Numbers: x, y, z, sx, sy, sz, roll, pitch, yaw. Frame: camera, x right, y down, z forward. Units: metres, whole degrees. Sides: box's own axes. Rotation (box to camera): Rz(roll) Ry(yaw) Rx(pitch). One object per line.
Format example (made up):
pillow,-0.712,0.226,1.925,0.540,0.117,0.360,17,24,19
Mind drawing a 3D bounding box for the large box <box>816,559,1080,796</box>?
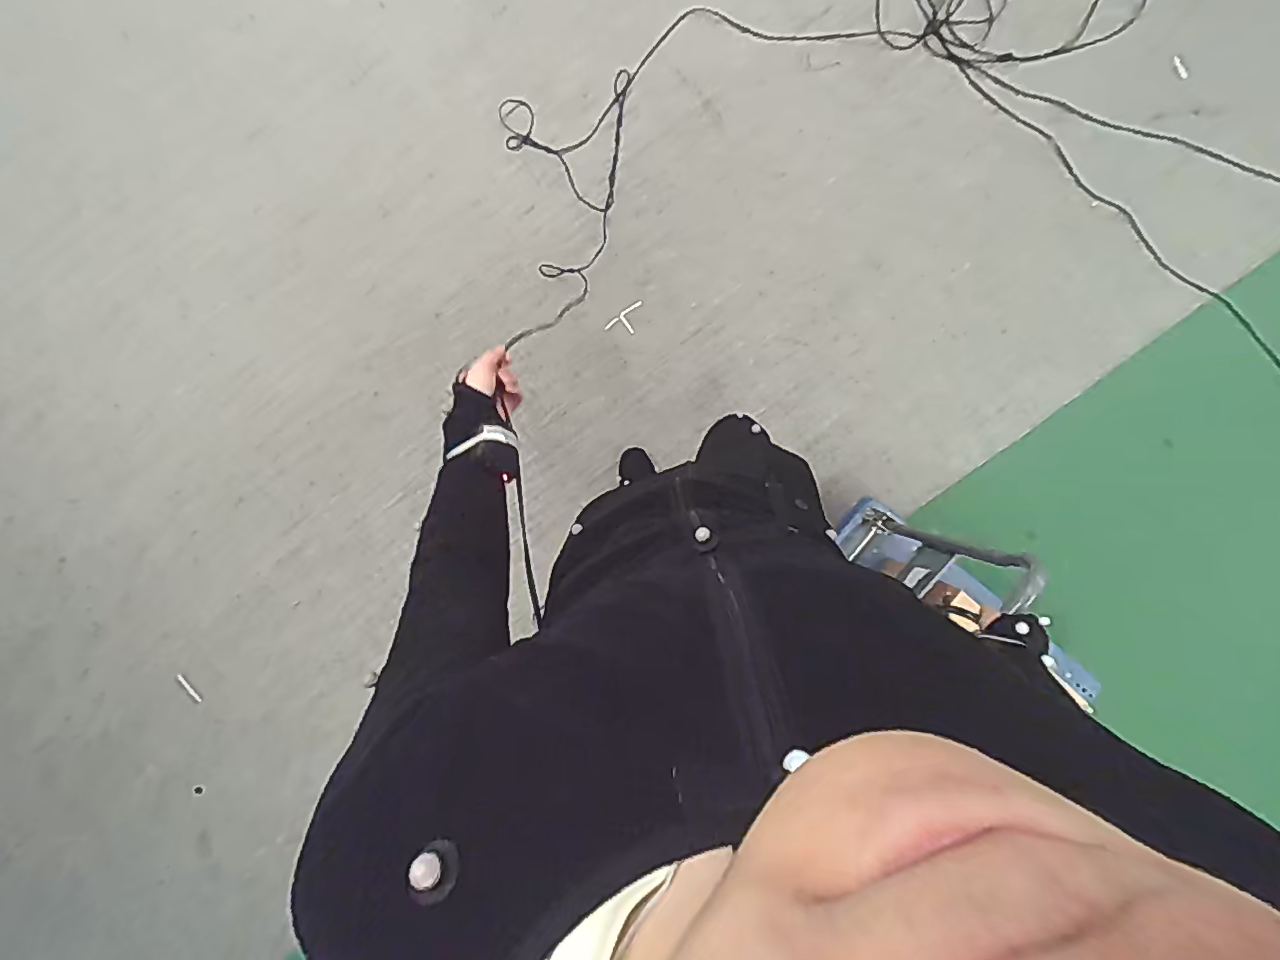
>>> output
large box,0.728,0.459,1.339,0.408,0.320,0.320,41,92,-6
